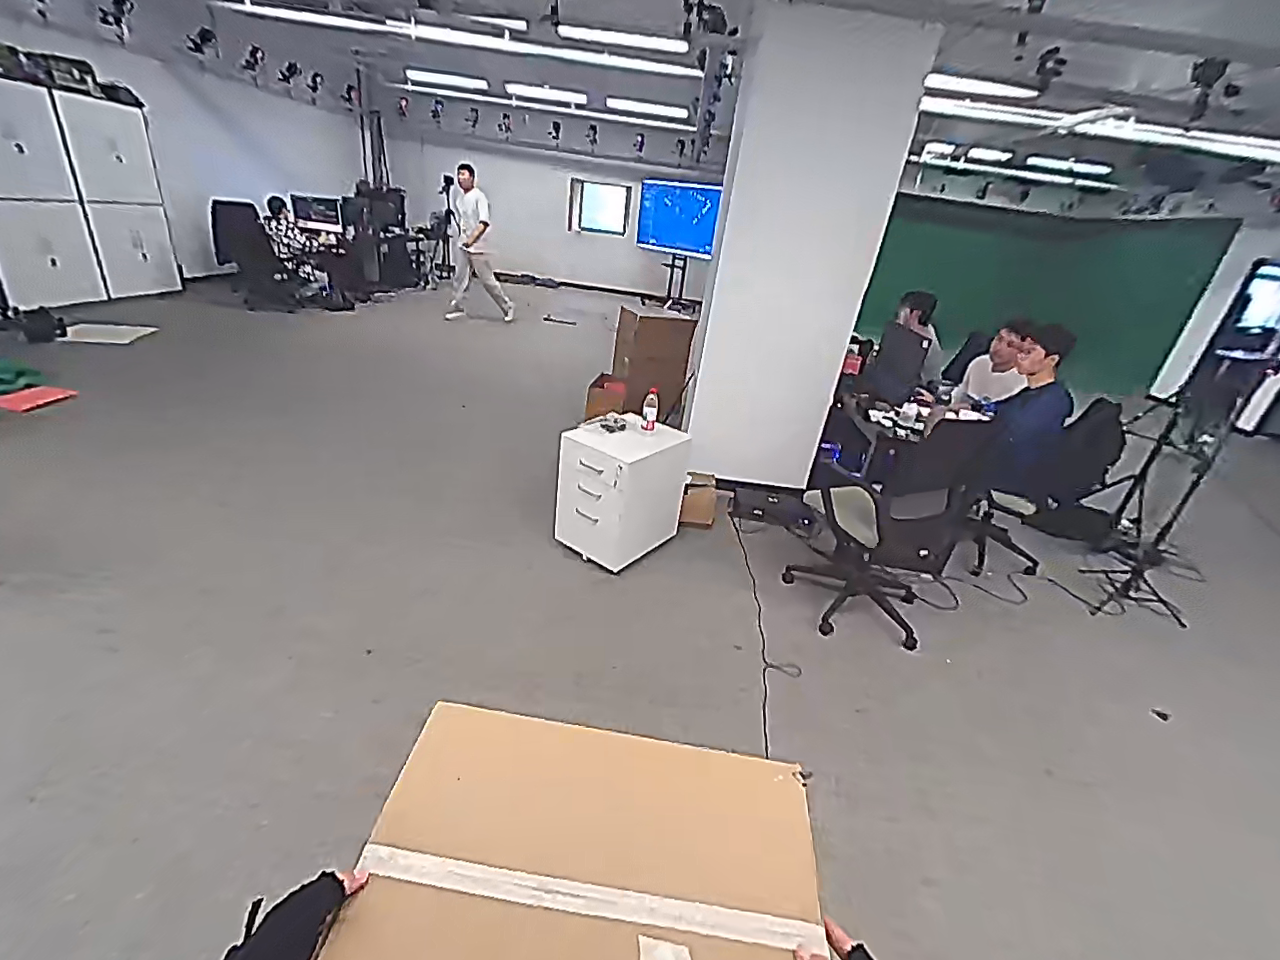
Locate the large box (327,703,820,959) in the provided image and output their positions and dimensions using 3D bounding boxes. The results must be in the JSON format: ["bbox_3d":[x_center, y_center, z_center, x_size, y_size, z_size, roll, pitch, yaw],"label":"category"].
[{"bbox_3d":[-0.061,0.487,0.561,0.408,0.320,0.320,10,33,2],"label":"large box"}]
